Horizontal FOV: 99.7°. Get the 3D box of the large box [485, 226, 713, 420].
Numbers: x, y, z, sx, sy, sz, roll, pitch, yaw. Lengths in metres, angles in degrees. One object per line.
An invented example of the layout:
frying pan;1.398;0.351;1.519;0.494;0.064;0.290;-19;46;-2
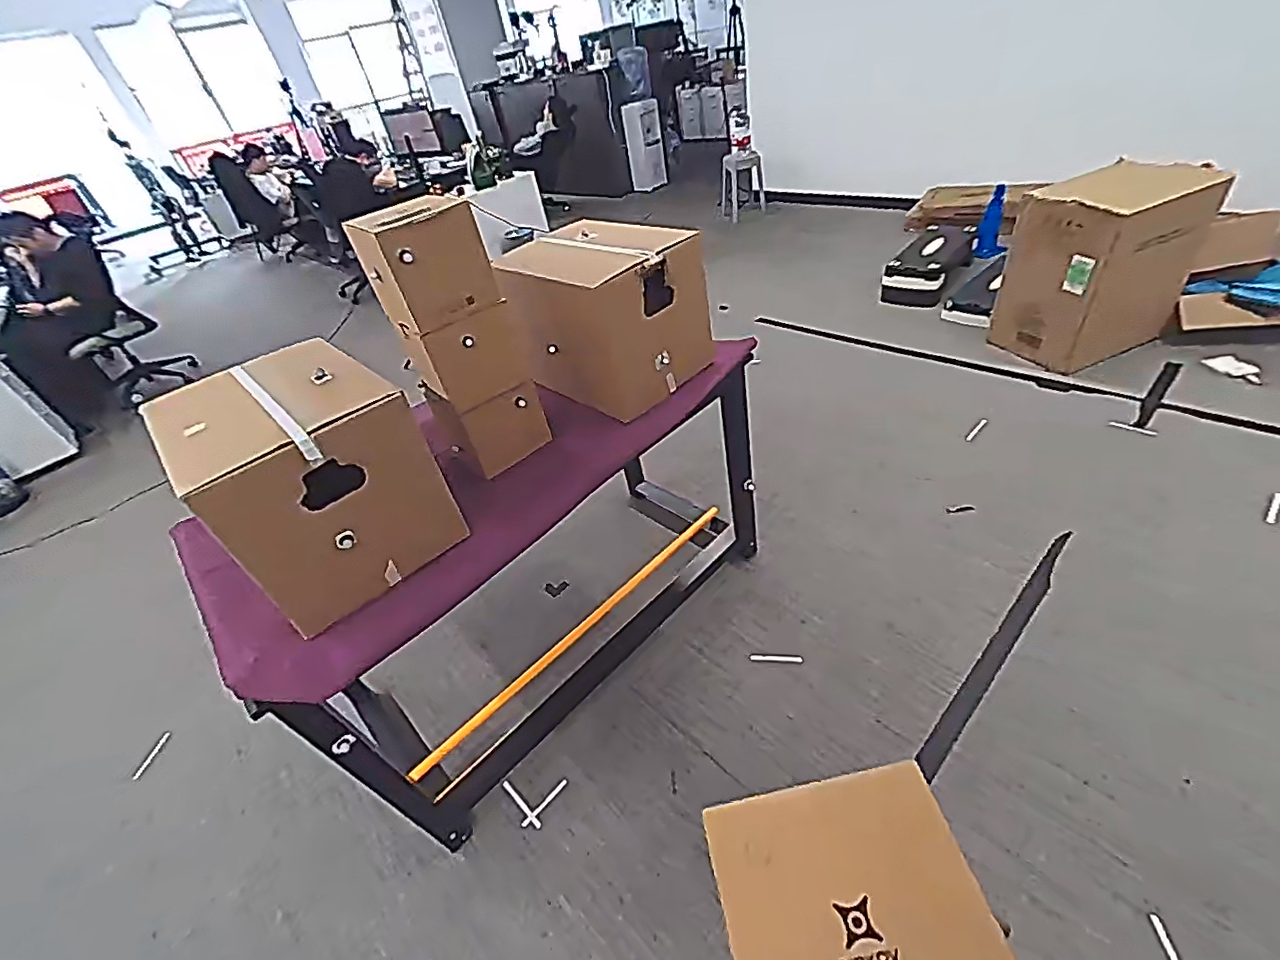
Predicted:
large box;-0.087;-0.386;1.286;0.320;0.320;0.408;-38;44;-28
